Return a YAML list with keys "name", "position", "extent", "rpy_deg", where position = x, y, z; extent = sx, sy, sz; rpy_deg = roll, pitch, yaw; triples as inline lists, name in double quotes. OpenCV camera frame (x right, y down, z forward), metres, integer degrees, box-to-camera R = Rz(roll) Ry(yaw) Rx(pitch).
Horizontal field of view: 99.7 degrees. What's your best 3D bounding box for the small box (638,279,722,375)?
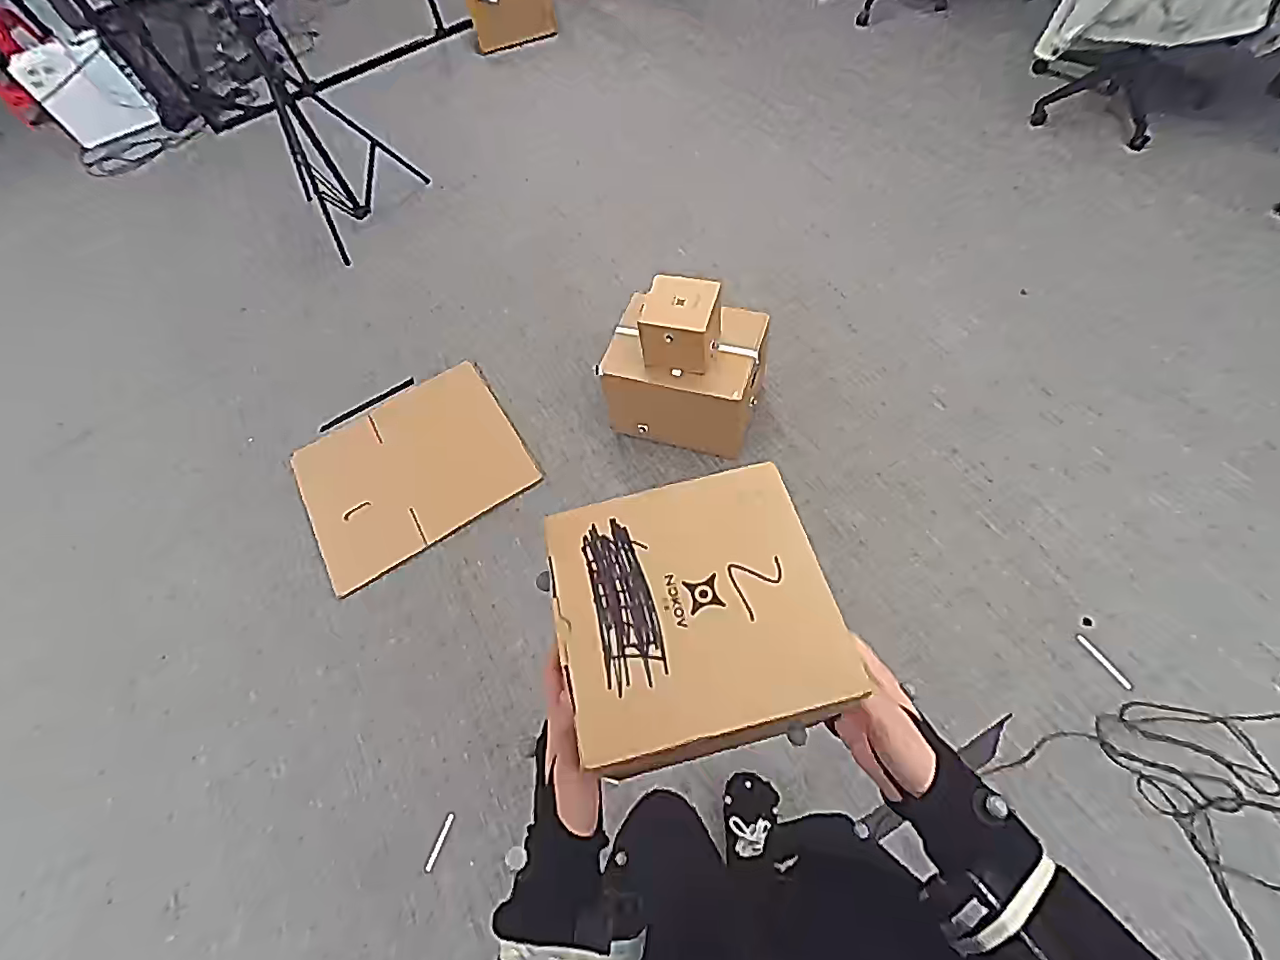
- name: "small box"
  position: [0.109, -0.394, 1.408]
  extent: [0.179, 0.176, 0.168]
  rpy_deg: [13, 66, 14]
